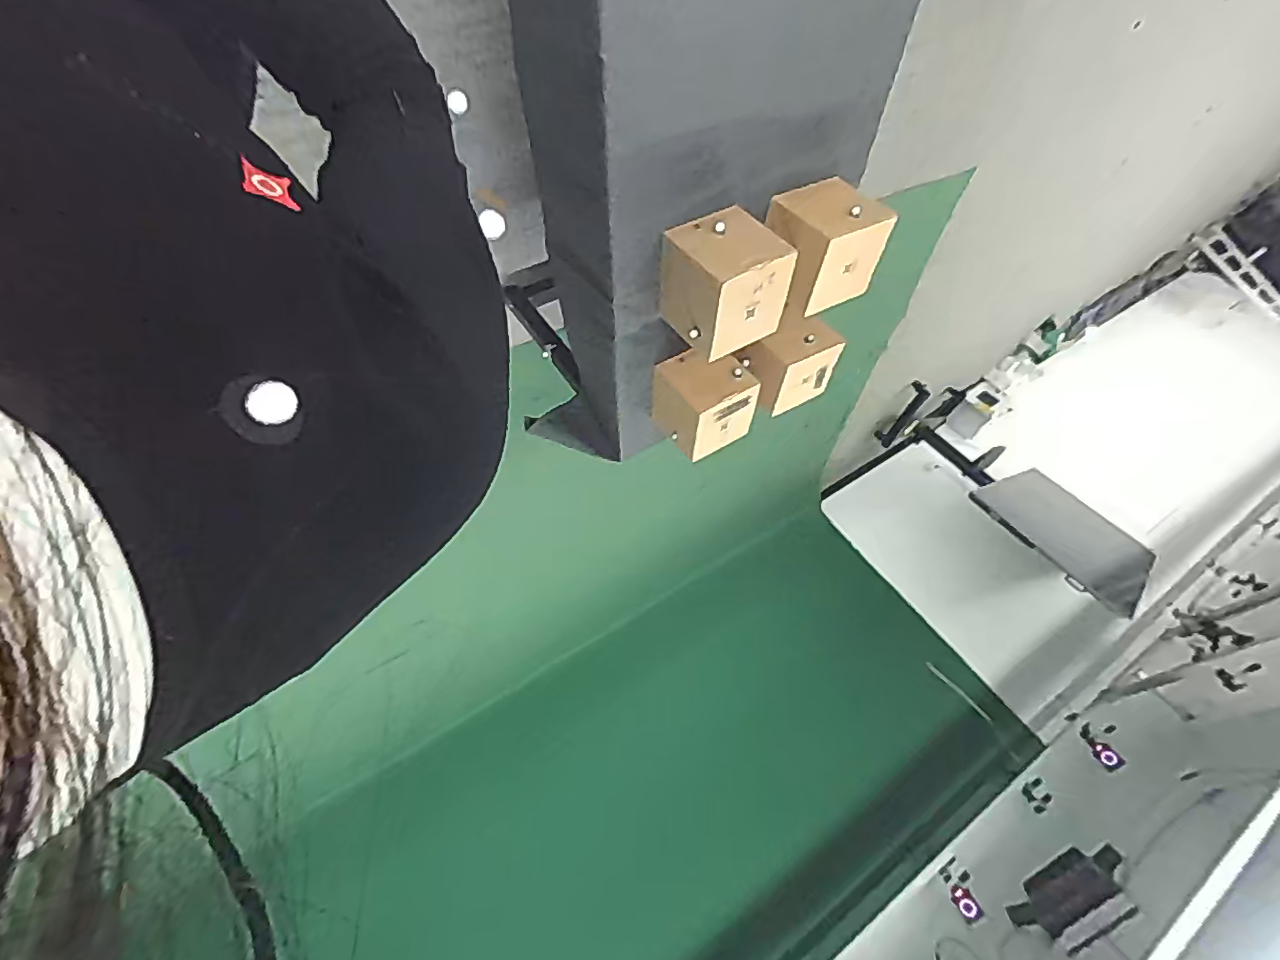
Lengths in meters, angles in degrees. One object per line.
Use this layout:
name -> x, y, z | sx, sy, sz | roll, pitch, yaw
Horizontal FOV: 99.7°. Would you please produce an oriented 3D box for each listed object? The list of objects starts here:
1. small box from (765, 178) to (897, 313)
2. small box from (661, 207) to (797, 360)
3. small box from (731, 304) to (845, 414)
small box -> 0.355, -0.465, 1.068 | 0.179, 0.176, 0.168 | -27, 150, -20
small box -> 0.150, -0.359, 0.984 | 0.168, 0.176, 0.179 | -29, 150, -19
small box -> 0.349, -0.296, 1.303 | 0.179, 0.176, 0.168 | -26, 149, -20
